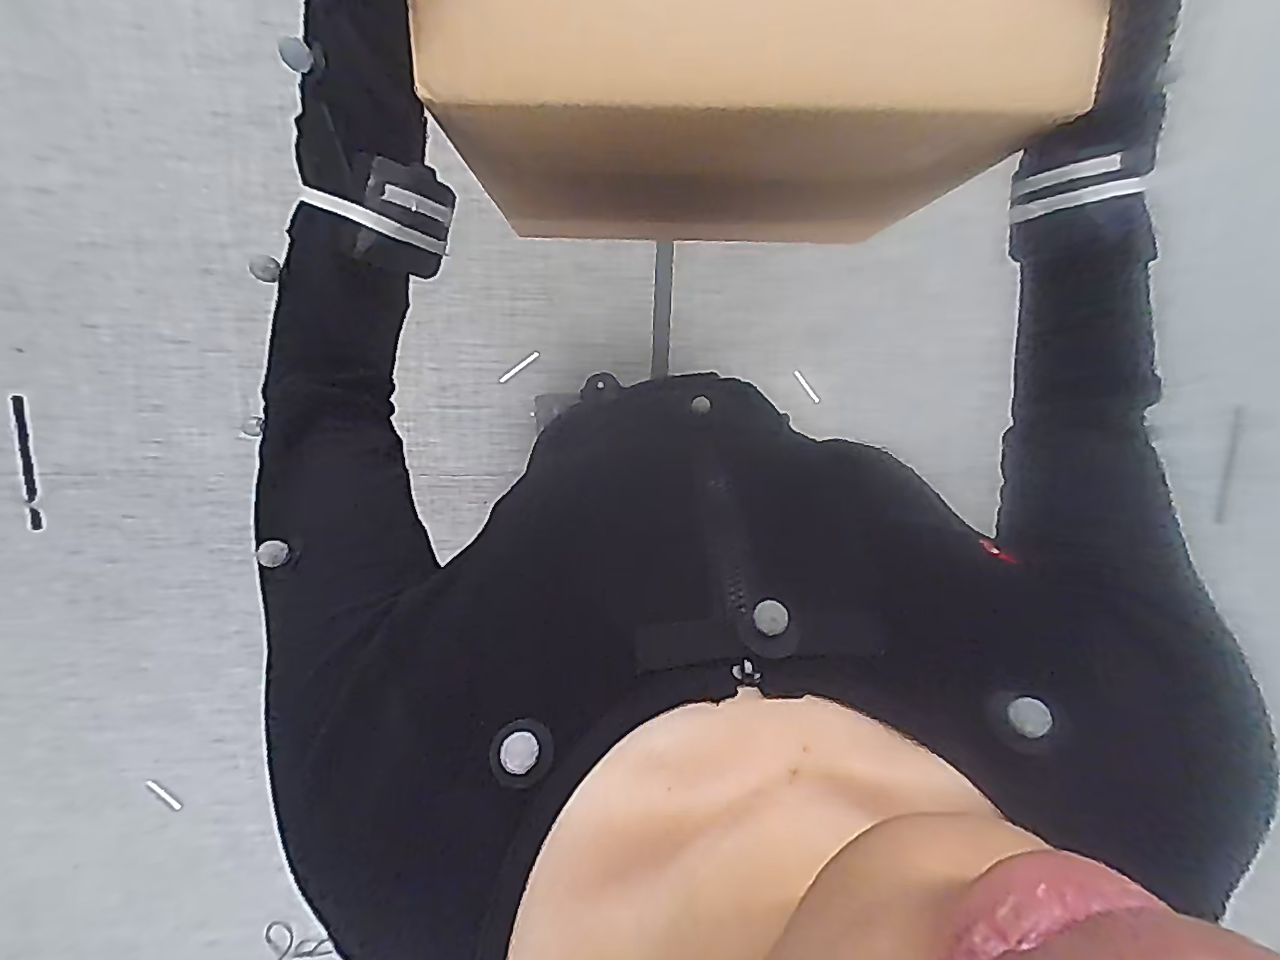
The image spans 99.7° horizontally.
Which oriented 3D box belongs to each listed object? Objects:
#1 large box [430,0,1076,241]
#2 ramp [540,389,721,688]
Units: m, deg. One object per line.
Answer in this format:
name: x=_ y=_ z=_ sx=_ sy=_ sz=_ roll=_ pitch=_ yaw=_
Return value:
large box: x=0.063 y=-0.407 z=0.460 sx=0.408 sy=0.320 sz=0.320 roll=-1 pitch=100 yaw=-2
ramp: x=-0.027 y=0.222 z=1.624 sx=0.509 sy=0.206 sz=0.991 roll=-2 pitch=101 yaw=-3
